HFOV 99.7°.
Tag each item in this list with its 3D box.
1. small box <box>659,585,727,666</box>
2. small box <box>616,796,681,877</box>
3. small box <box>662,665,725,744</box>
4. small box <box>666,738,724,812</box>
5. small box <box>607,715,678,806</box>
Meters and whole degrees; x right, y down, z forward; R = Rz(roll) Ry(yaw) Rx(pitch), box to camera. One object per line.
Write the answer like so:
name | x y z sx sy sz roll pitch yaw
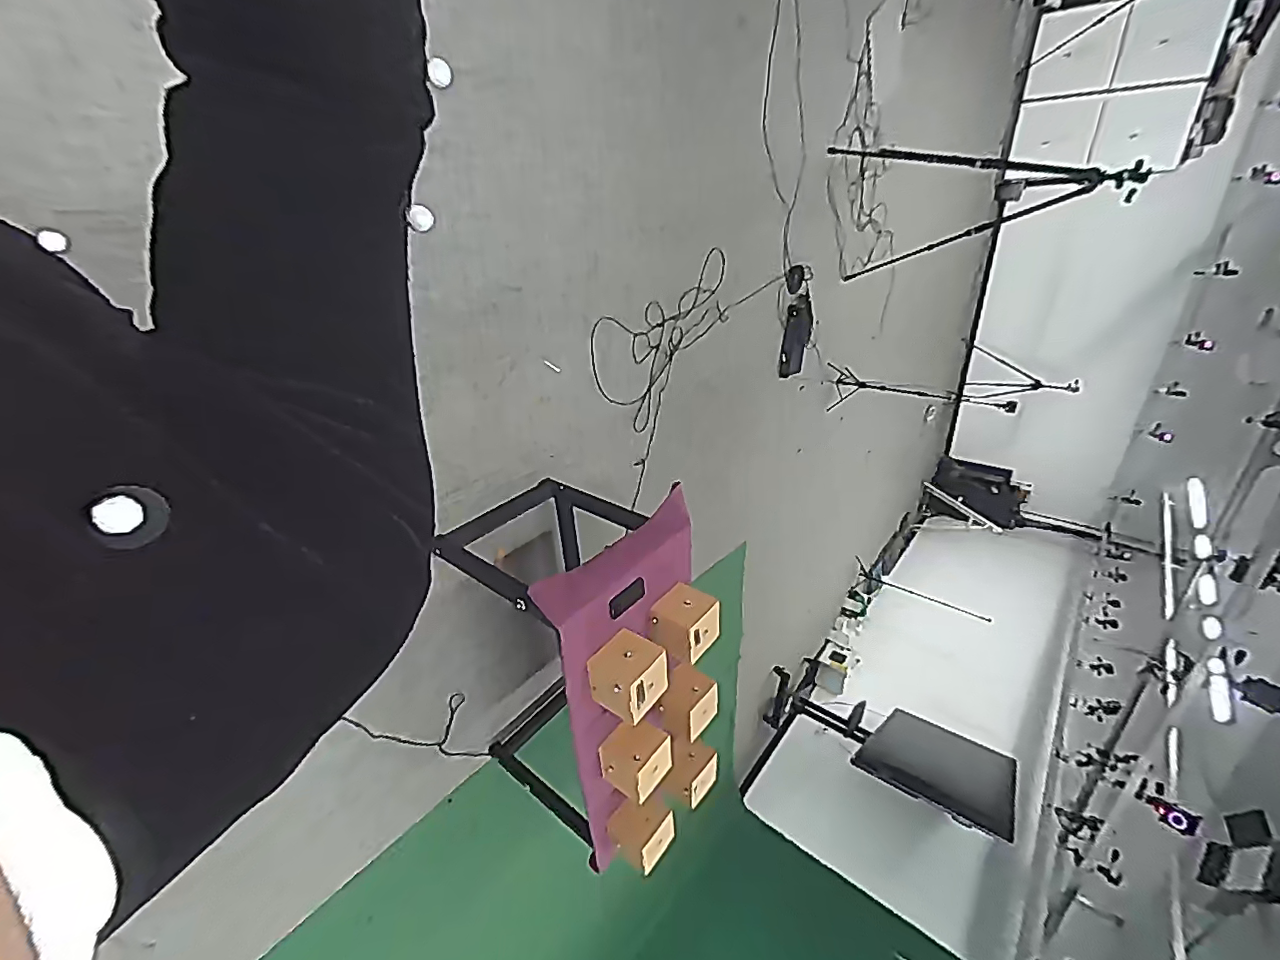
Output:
small box | 0.177 0.489 1.836 0.179 0.176 0.168 -31 128 -41
small box | 0.032 1.287 1.987 0.179 0.176 0.168 -31 126 -40
small box | 0.199 0.828 2.014 0.179 0.176 0.168 -30 126 -41
small box | 0.222 1.178 2.187 0.179 0.176 0.168 -29 125 -42
small box | 0.010 0.934 1.817 0.179 0.176 0.168 -31 128 -41
